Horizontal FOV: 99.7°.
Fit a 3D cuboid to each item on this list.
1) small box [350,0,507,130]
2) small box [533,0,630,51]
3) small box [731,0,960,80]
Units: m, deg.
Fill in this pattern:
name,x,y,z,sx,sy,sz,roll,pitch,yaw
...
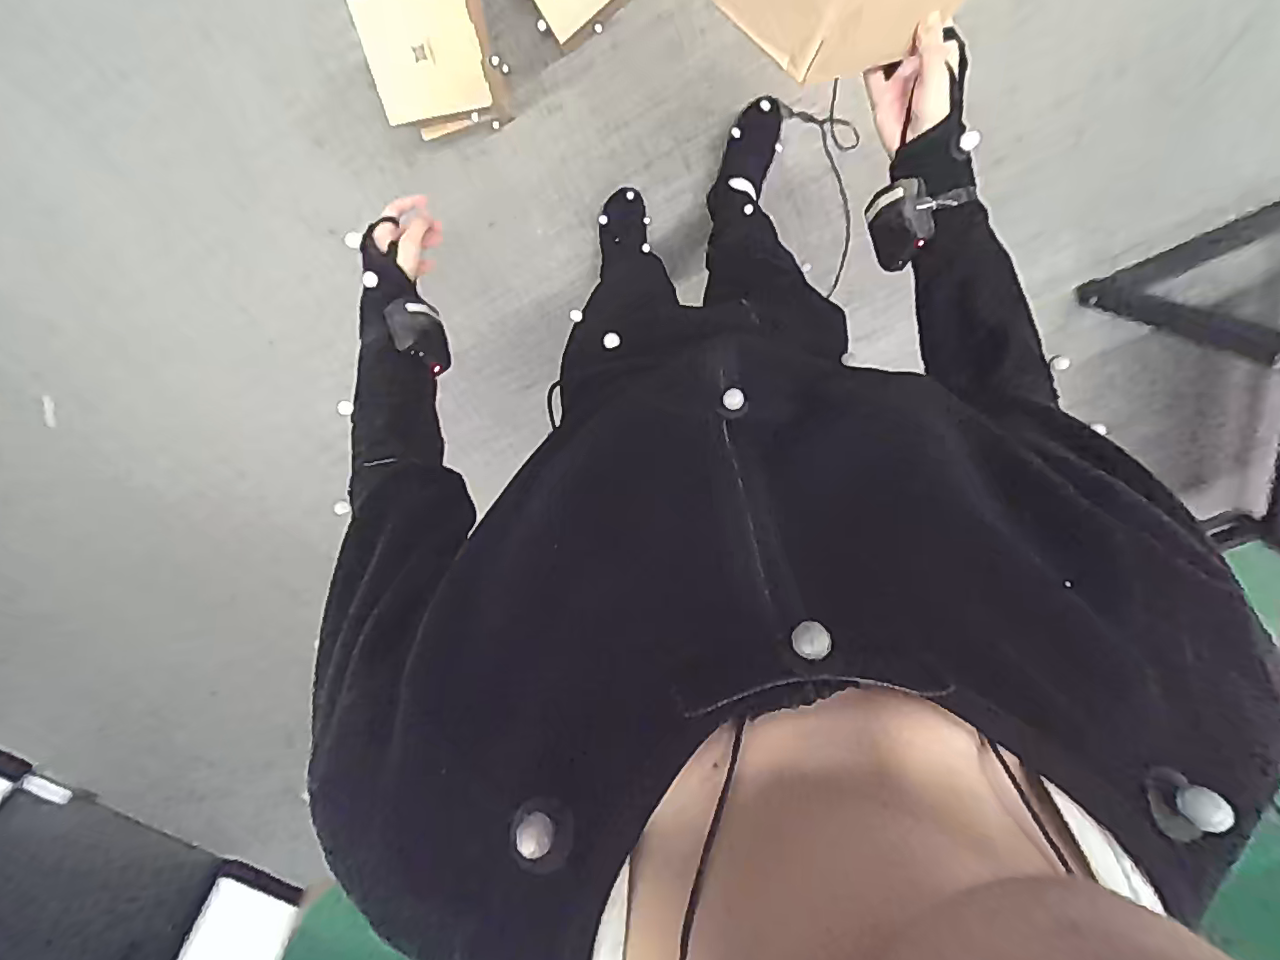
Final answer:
name,x,y,z,sx,sy,sz,roll,pitch,yaw
small box,-0.339,-0.702,0.909,0.179,0.176,0.168,-11,121,2
small box,-0.123,-0.920,0.978,0.168,0.176,0.179,-31,118,15
small box,0.141,-0.402,0.341,0.176,0.179,0.168,50,152,9
